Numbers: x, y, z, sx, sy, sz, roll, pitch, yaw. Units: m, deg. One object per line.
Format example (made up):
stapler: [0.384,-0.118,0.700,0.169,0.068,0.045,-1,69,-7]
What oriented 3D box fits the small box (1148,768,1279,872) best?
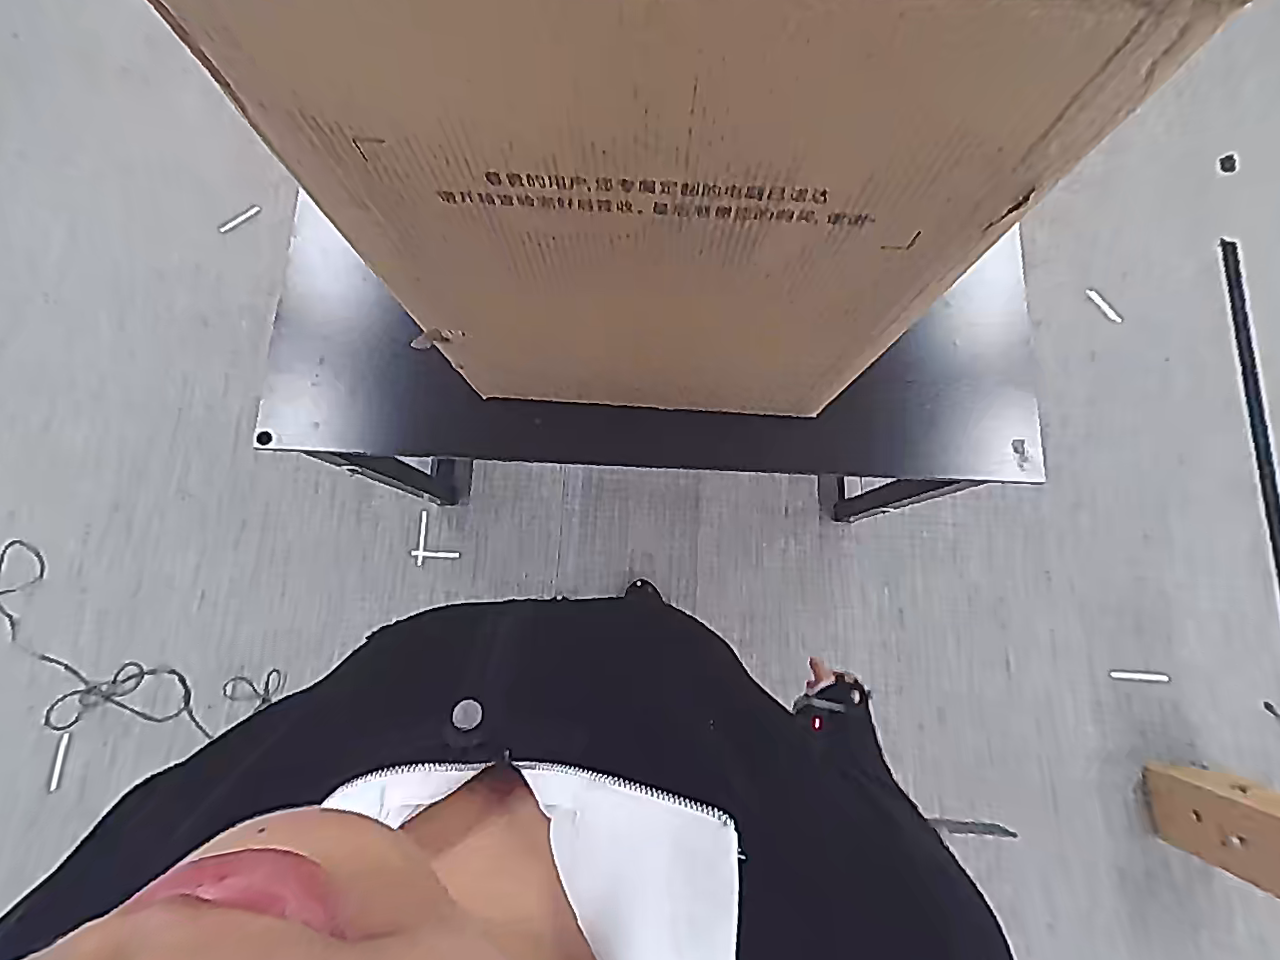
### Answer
small box: [1.401,0.820,1.320,0.168,0.176,0.179,-1,80,0]

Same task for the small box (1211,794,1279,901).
small box: [1.401,0.795,1.158,0.179,0.176,0.168,3,79,1]
